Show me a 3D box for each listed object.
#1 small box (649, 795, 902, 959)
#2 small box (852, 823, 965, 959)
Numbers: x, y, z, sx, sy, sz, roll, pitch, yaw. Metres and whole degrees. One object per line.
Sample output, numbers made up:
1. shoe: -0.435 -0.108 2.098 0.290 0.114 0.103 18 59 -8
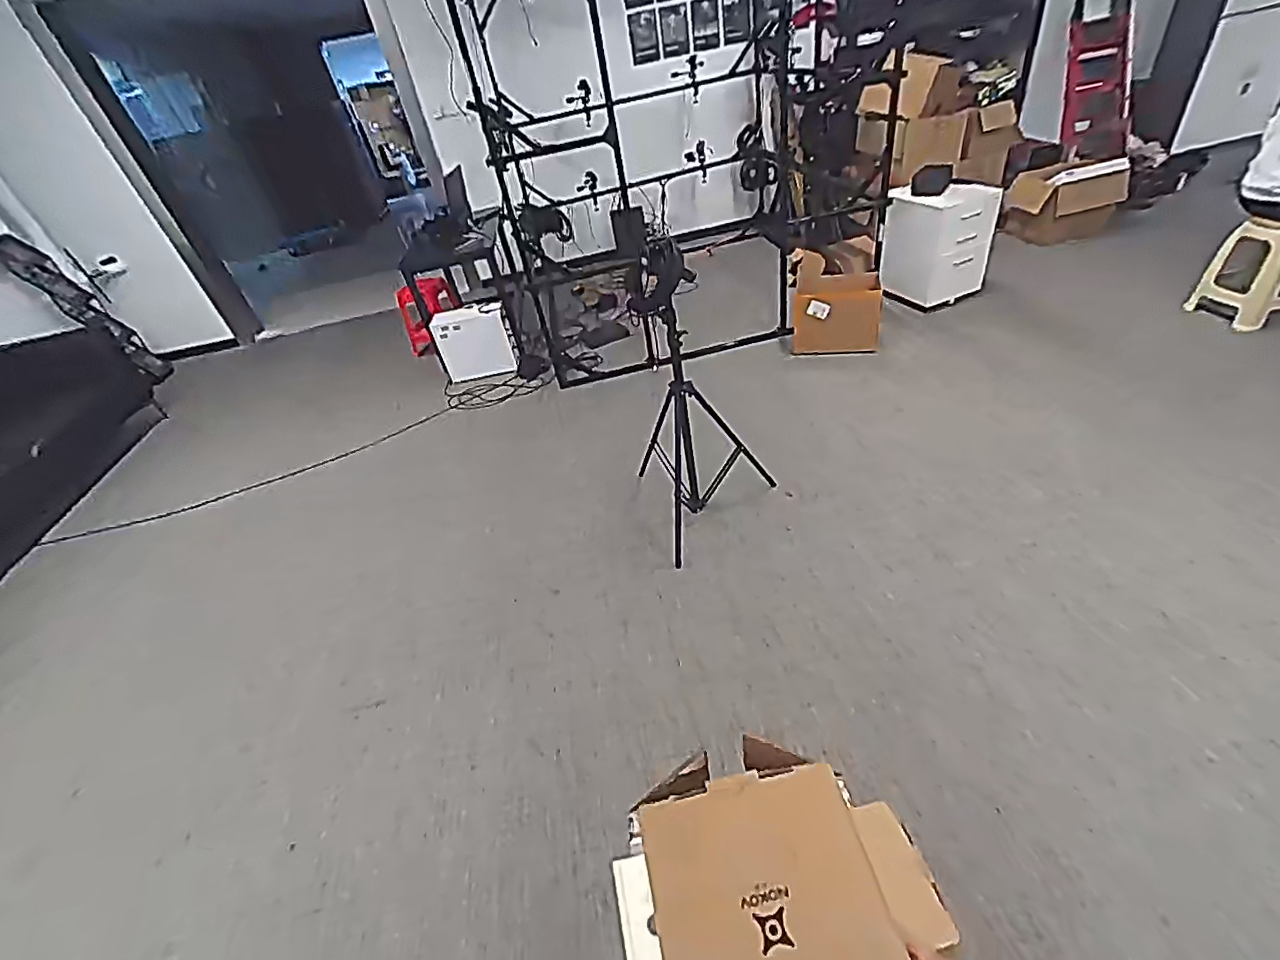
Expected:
1. small box: 0.109 0.394 0.443 0.168 0.176 0.179 -13 46 -3
2. small box: 0.304 0.613 0.748 0.179 0.176 0.168 -14 39 -4
